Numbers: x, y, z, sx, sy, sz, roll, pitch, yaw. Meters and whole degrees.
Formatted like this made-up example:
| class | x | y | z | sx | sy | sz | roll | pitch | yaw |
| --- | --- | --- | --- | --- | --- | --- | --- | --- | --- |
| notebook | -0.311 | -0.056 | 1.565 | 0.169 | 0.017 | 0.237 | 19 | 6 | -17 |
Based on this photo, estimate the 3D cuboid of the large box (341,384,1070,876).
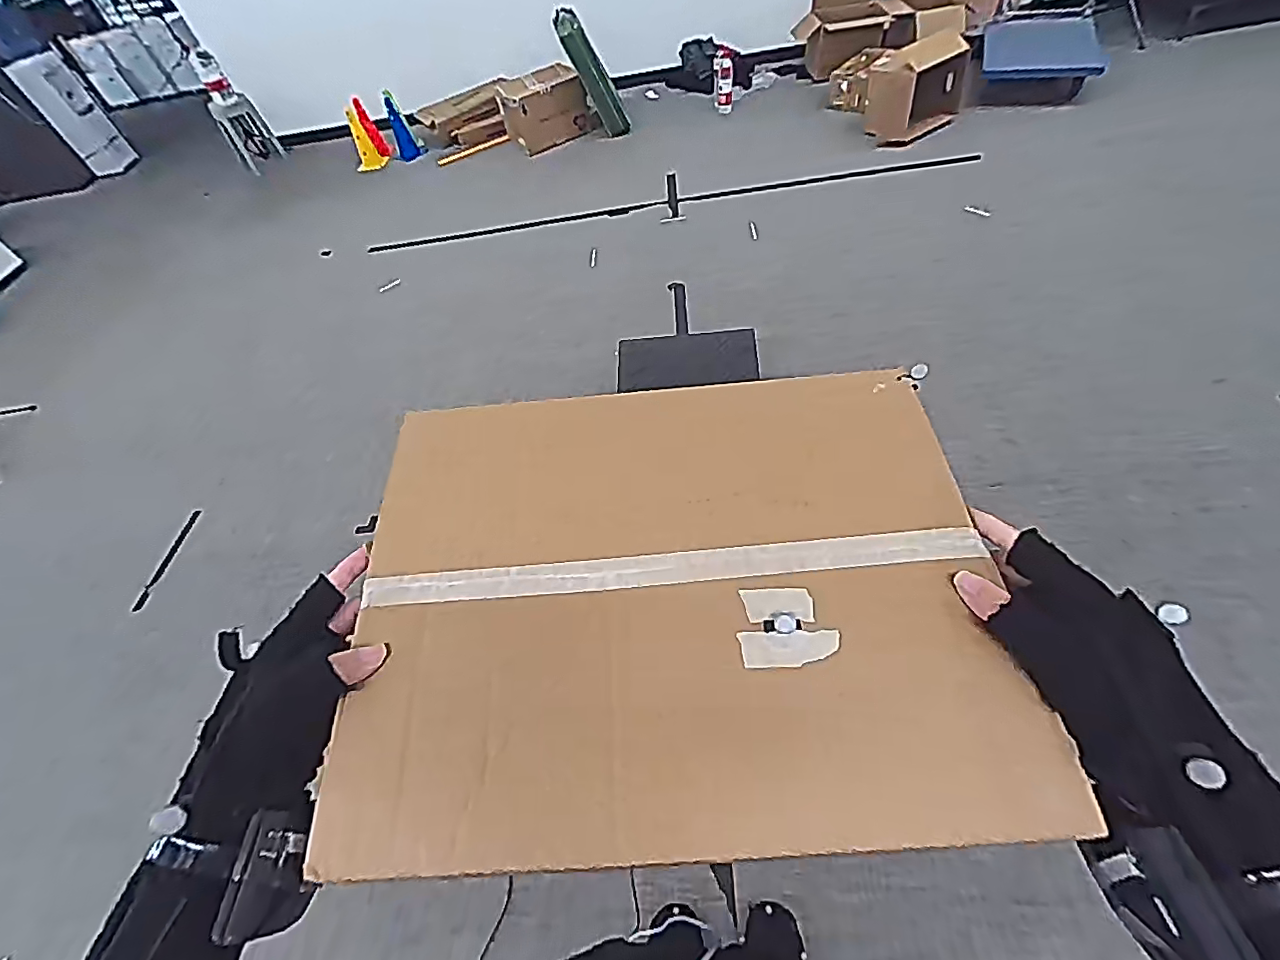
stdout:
| class | x | y | z | sx | sy | sz | roll | pitch | yaw |
| --- | --- | --- | --- | --- | --- | --- | --- | --- | --- |
| large box | 0.032 | 0.146 | 0.493 | 0.408 | 0.320 | 0.320 | -5 | 58 | 1 |
